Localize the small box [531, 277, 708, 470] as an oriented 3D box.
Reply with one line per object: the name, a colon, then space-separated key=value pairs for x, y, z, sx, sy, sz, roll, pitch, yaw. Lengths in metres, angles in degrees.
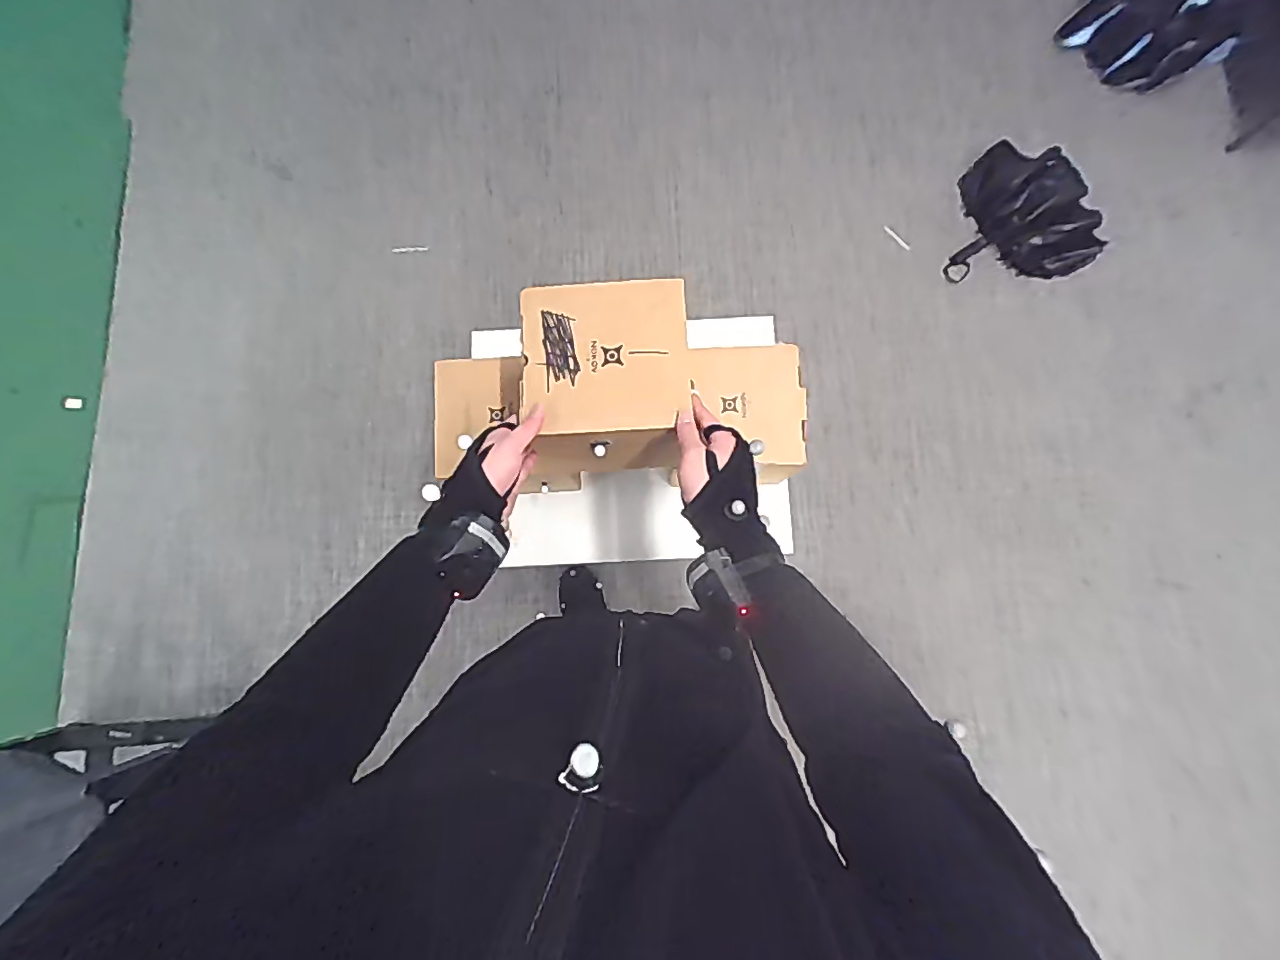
small box: x=-0.022 y=-0.110 z=0.622 sx=0.179 sy=0.176 sz=0.168 roll=-2 pitch=77 yaw=-1

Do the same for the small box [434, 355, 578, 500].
small box: x=-0.181 y=-0.068 z=0.778 sx=0.179 sy=0.176 sz=0.168 roll=-4 pitch=78 yaw=-2

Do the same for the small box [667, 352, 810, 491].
small box: x=0.132 y=-0.077 z=0.788 sx=0.179 sy=0.176 sz=0.168 roll=-1 pitch=80 yaw=0
